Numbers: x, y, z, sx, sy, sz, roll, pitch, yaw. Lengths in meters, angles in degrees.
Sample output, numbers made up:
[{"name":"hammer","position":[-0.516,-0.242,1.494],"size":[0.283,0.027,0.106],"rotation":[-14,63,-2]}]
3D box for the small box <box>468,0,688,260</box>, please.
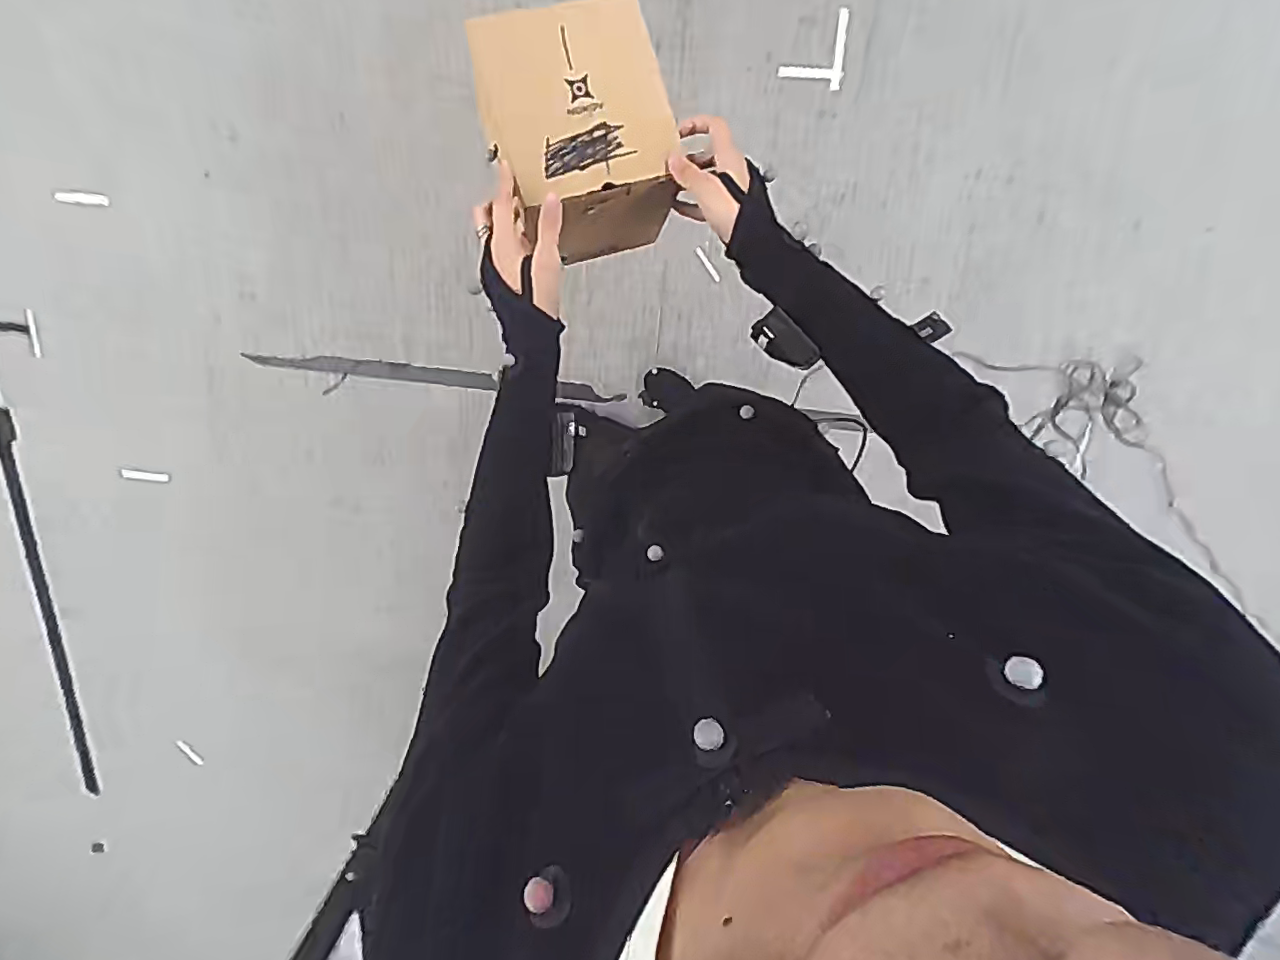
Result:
[{"name":"small box","position":[-0.066,-0.353,0.572],"size":[0.168,0.176,0.179],"rotation":[-17,93,-10]}]
